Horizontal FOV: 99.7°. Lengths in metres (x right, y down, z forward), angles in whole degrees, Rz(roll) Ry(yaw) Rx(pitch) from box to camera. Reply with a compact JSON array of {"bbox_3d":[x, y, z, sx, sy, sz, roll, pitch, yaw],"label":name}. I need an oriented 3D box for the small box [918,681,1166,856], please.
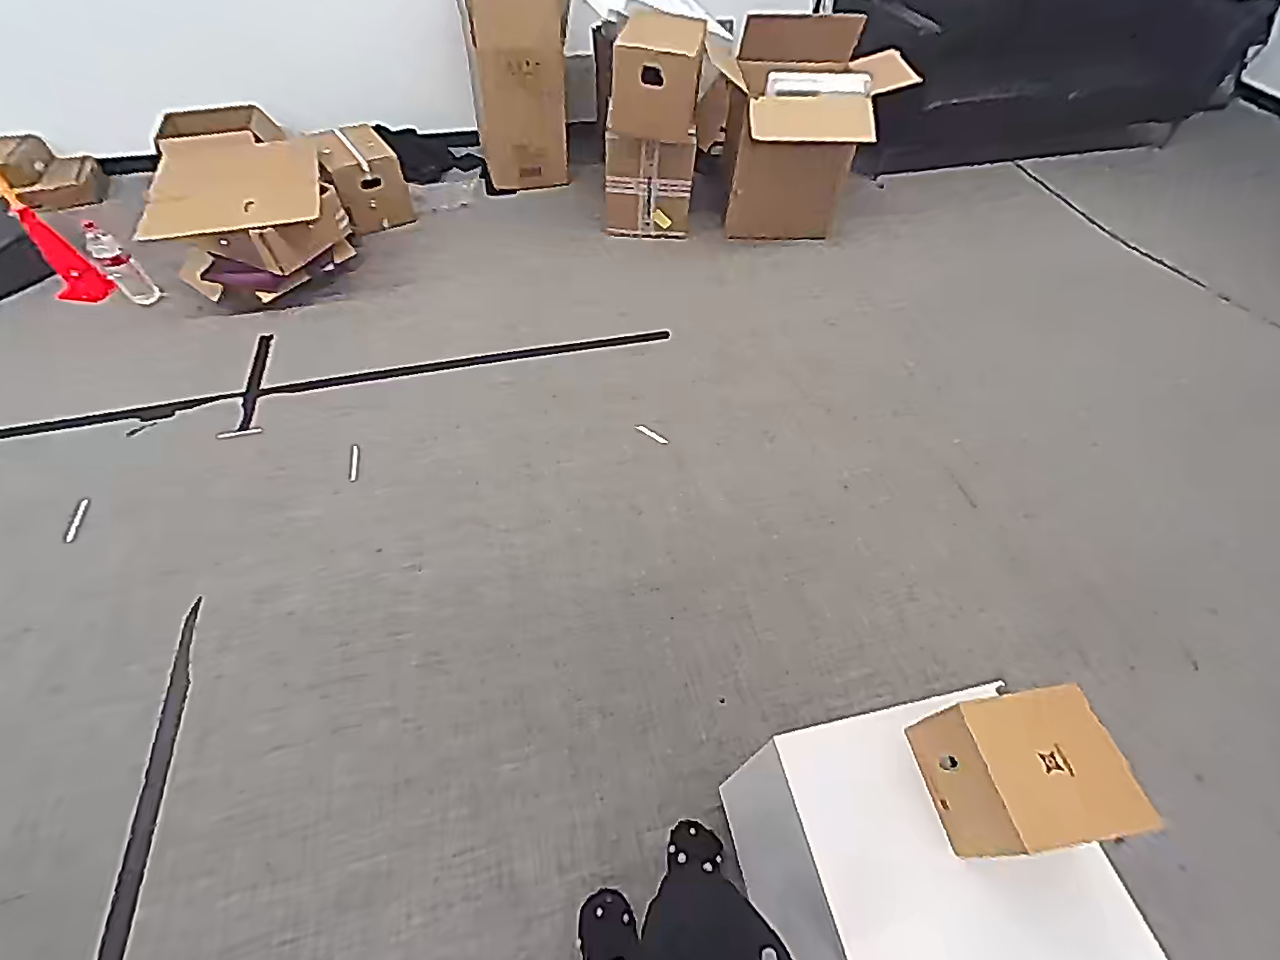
[{"bbox_3d":[0.501,0.384,0.715,0.179,0.176,0.168,-6,55,-7],"label":"small box"}]
